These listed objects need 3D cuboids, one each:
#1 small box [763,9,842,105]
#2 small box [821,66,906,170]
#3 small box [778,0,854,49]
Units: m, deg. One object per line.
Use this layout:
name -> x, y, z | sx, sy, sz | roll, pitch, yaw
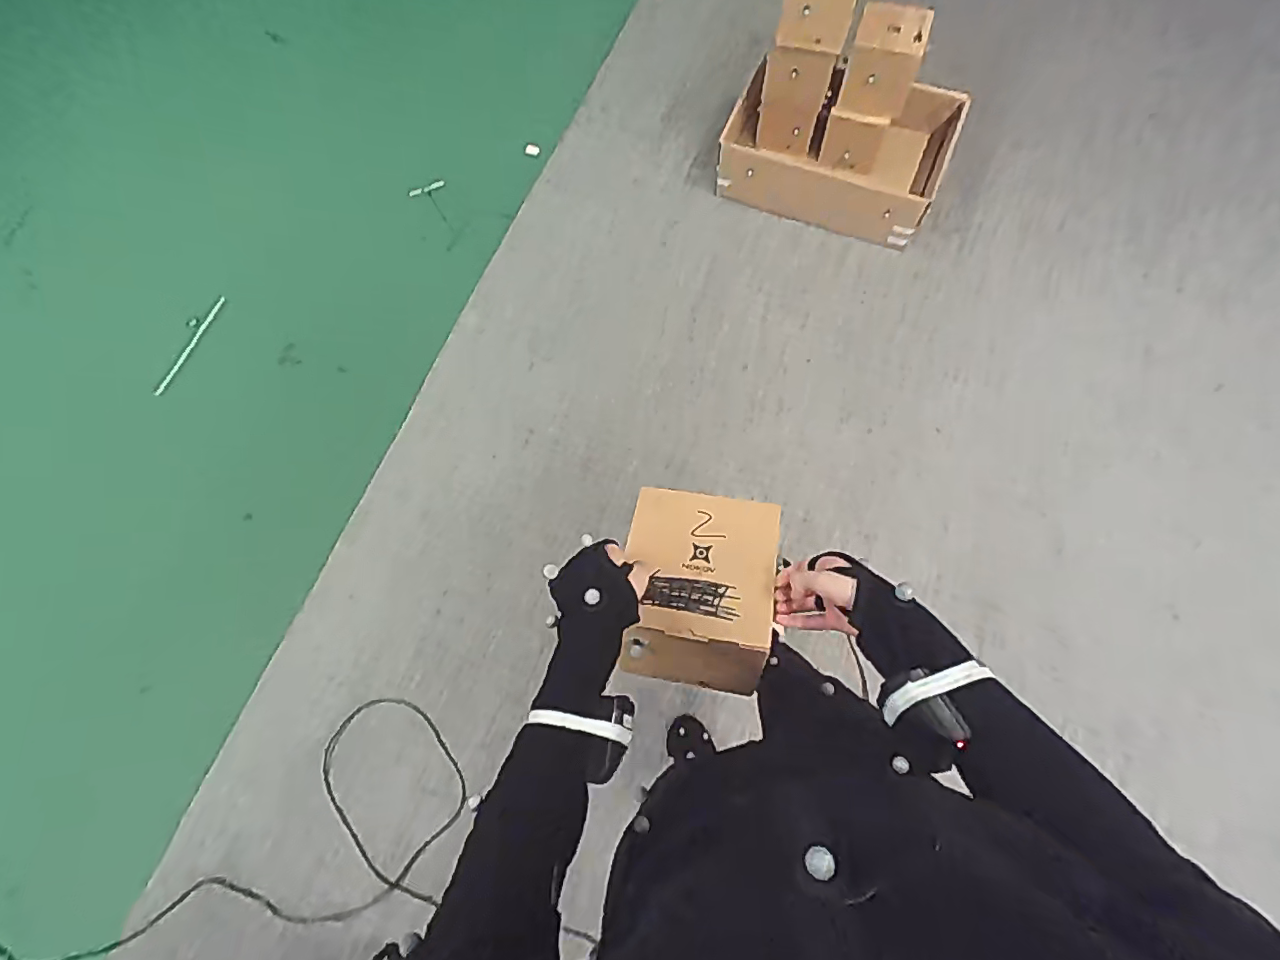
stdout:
small box -> 0.447, -1.161, 1.463 | 0.179, 0.176, 0.168 | 18, 77, 10
small box -> 0.648, -1.057, 1.585 | 0.168, 0.176, 0.179 | 21, 78, 13
small box -> 0.438, -1.190, 1.302 | 0.168, 0.176, 0.179 | 14, 76, 8
